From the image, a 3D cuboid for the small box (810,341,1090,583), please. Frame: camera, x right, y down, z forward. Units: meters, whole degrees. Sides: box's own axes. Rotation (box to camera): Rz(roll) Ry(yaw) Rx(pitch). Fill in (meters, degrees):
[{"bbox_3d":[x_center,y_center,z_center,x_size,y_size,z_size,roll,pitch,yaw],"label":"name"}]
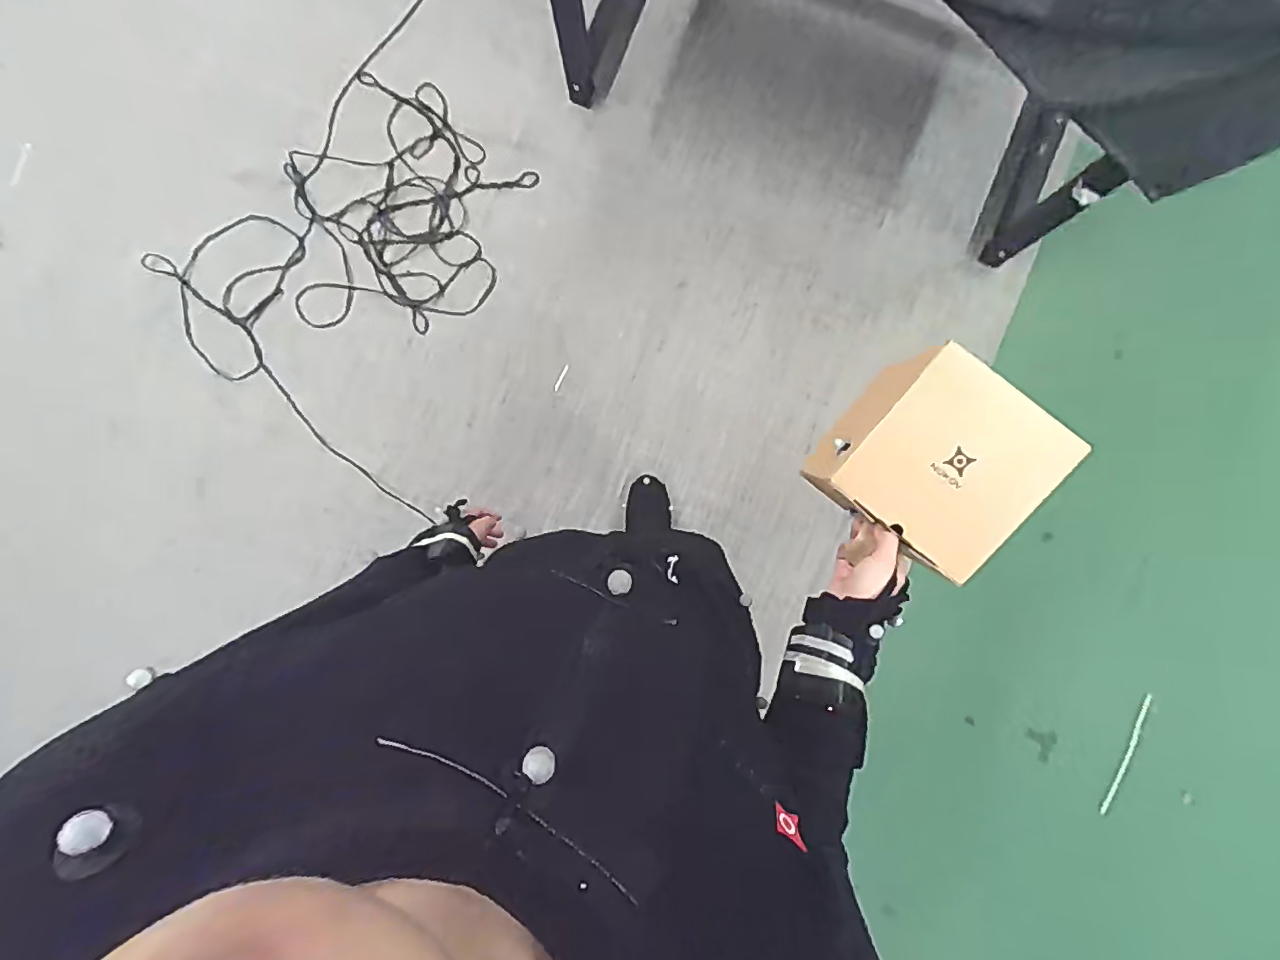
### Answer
[{"bbox_3d":[0.312,-0.023,0.592,0.168,0.176,0.179,39,98,2],"label":"small box"}]
